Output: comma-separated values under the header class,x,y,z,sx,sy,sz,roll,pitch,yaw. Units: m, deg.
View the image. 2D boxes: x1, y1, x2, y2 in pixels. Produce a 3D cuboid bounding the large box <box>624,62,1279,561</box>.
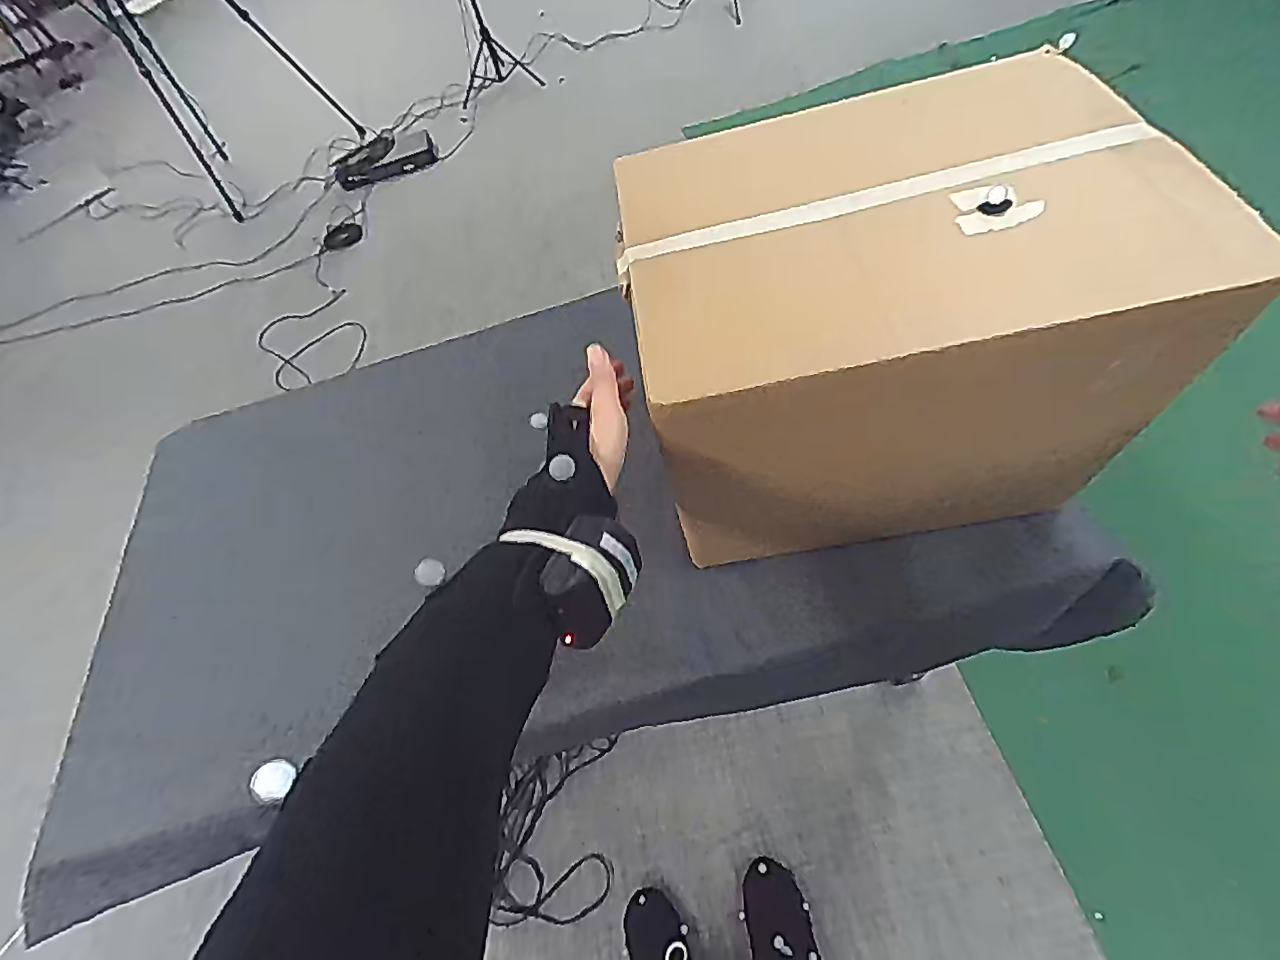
class,x,y,z,sx,sy,sz,roll,pitch,yaw
large box,0.218,-0.142,0.556,0.408,0.320,0.320,-10,59,5
